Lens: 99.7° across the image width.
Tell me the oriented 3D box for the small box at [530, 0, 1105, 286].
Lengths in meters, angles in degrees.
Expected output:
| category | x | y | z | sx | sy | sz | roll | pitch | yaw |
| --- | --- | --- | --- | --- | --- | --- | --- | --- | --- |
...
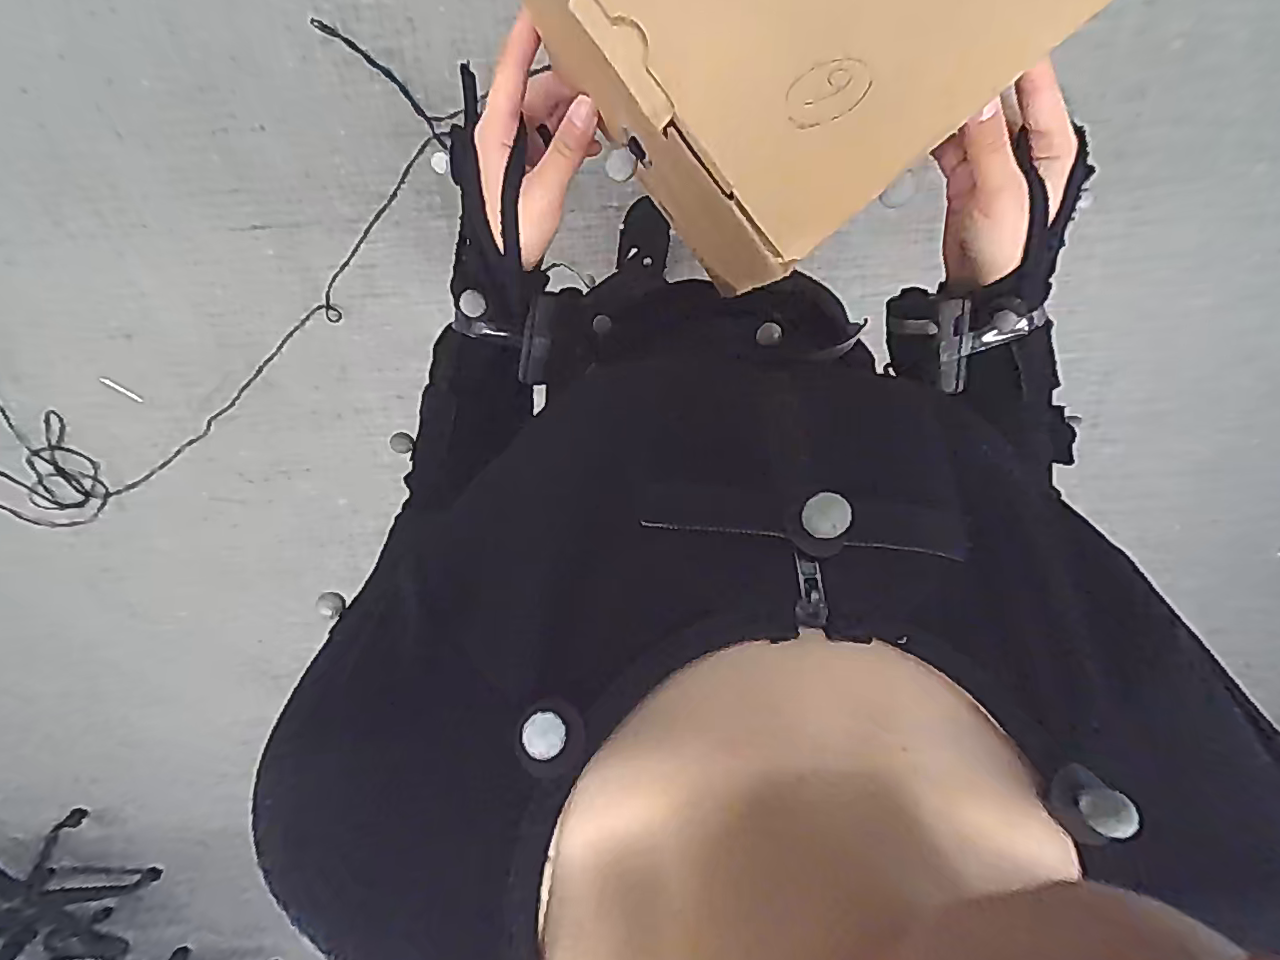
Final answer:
| category | x | y | z | sx | sy | sz | roll | pitch | yaw |
| --- | --- | --- | --- | --- | --- | --- | --- | --- | --- |
| small box | 0.063 | -0.201 | 0.224 | 0.179 | 0.176 | 0.168 | -38 | 100 | 13 |
